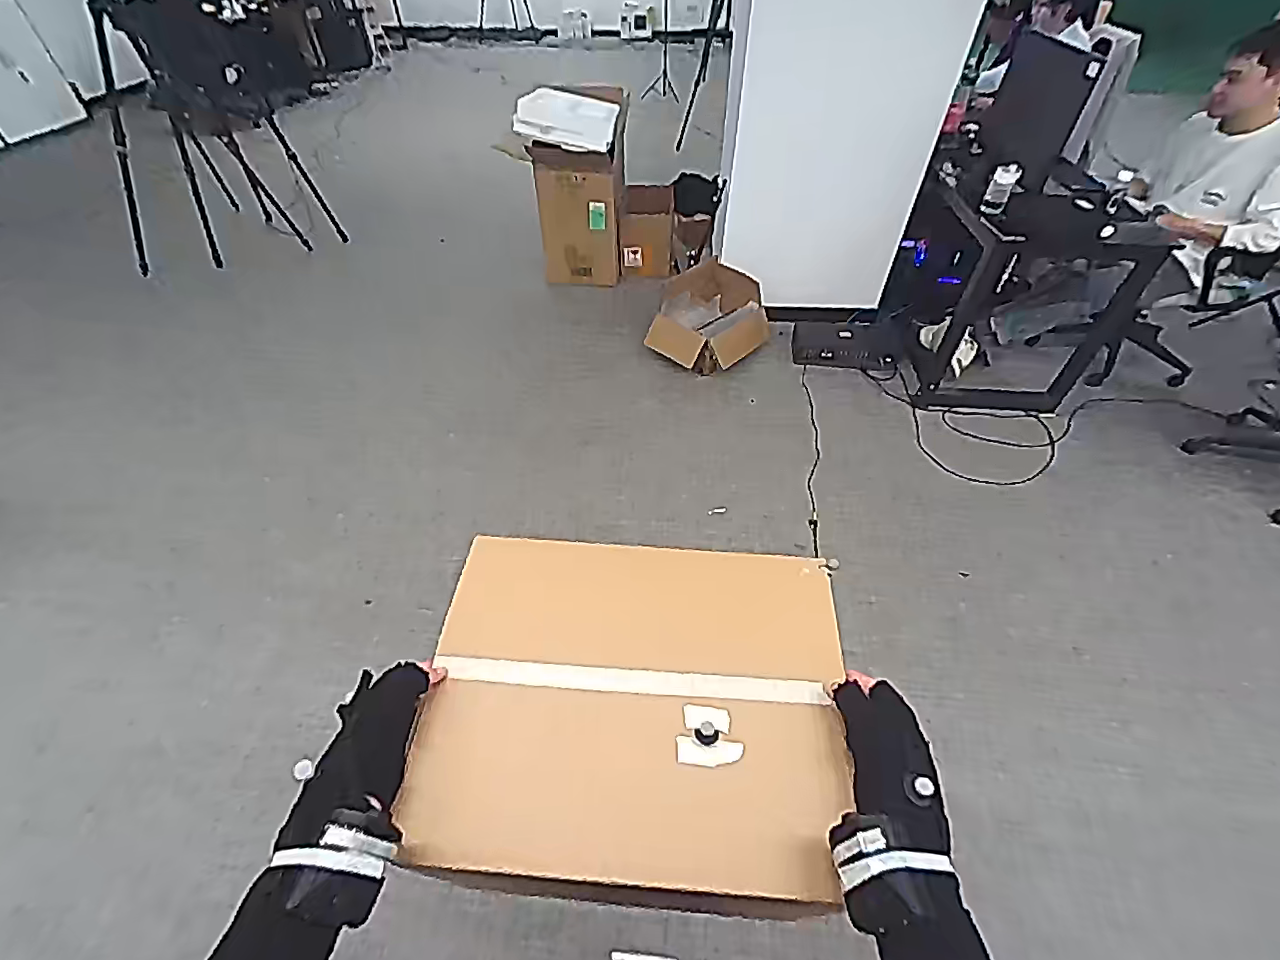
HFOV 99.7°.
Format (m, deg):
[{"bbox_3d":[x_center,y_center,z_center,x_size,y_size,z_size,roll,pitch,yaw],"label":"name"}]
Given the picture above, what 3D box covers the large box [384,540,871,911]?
[{"bbox_3d":[-0.007,0.293,0.641,0.408,0.320,0.320,4,50,2],"label":"large box"}]
